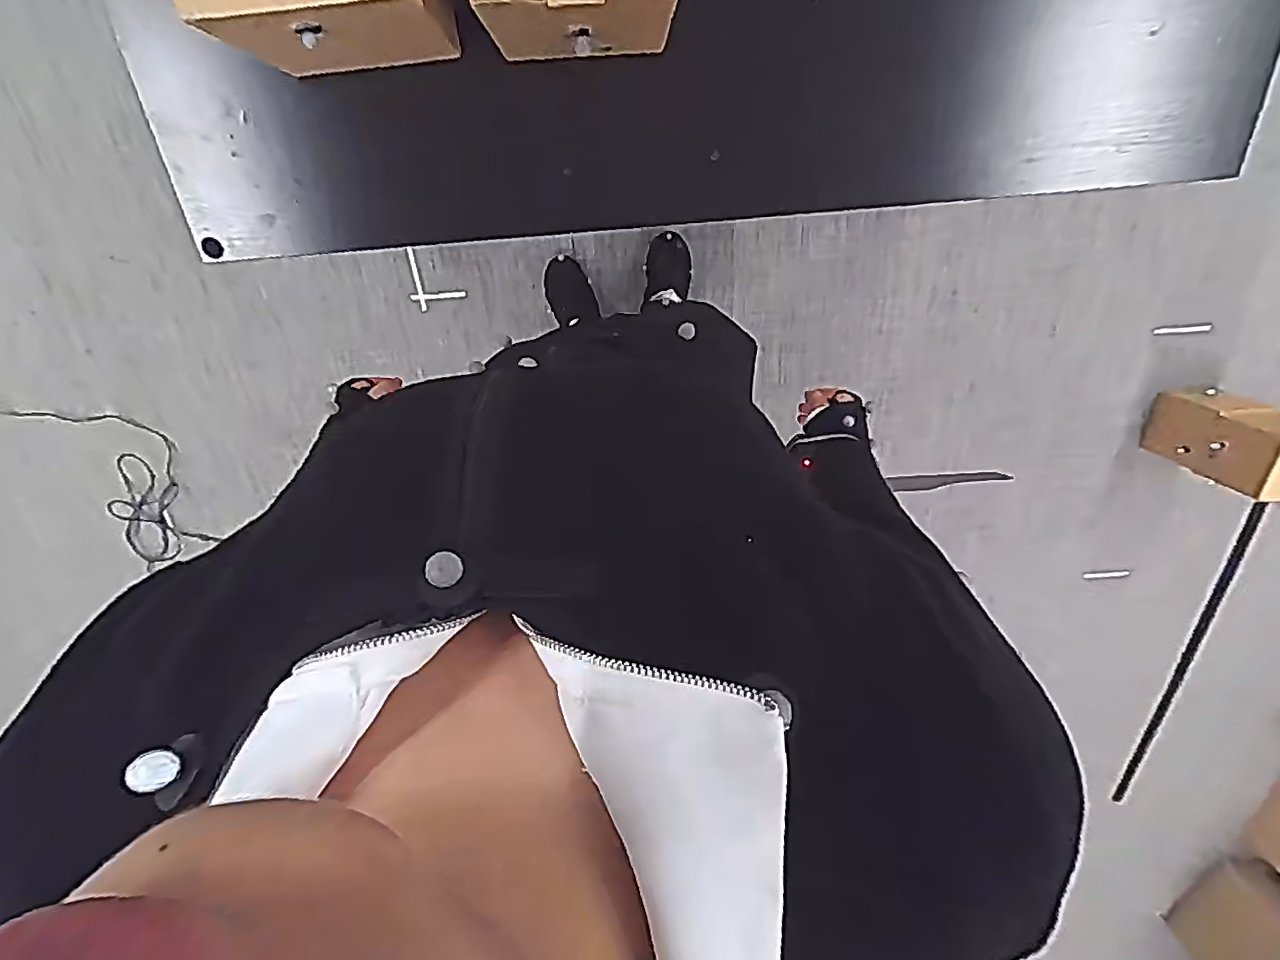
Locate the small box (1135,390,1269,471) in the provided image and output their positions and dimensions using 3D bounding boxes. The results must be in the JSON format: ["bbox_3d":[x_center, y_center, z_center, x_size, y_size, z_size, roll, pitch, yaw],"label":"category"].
[{"bbox_3d":[1.539,-0.139,1.497,0.168,0.176,0.179,-3,115,-1],"label":"small box"}]

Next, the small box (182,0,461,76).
[{"bbox_3d":[-0.273,-0.467,0.458,0.179,0.176,0.168,-7,115,-1],"label":"small box"}]

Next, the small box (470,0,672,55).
[{"bbox_3d":[-0.059,-0.486,0.459,0.168,0.176,0.179,-4,116,-2],"label":"small box"}]

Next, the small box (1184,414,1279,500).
[{"bbox_3d":[1.550,-0.062,1.354,0.179,0.176,0.168,-3,114,1],"label":"small box"}]
